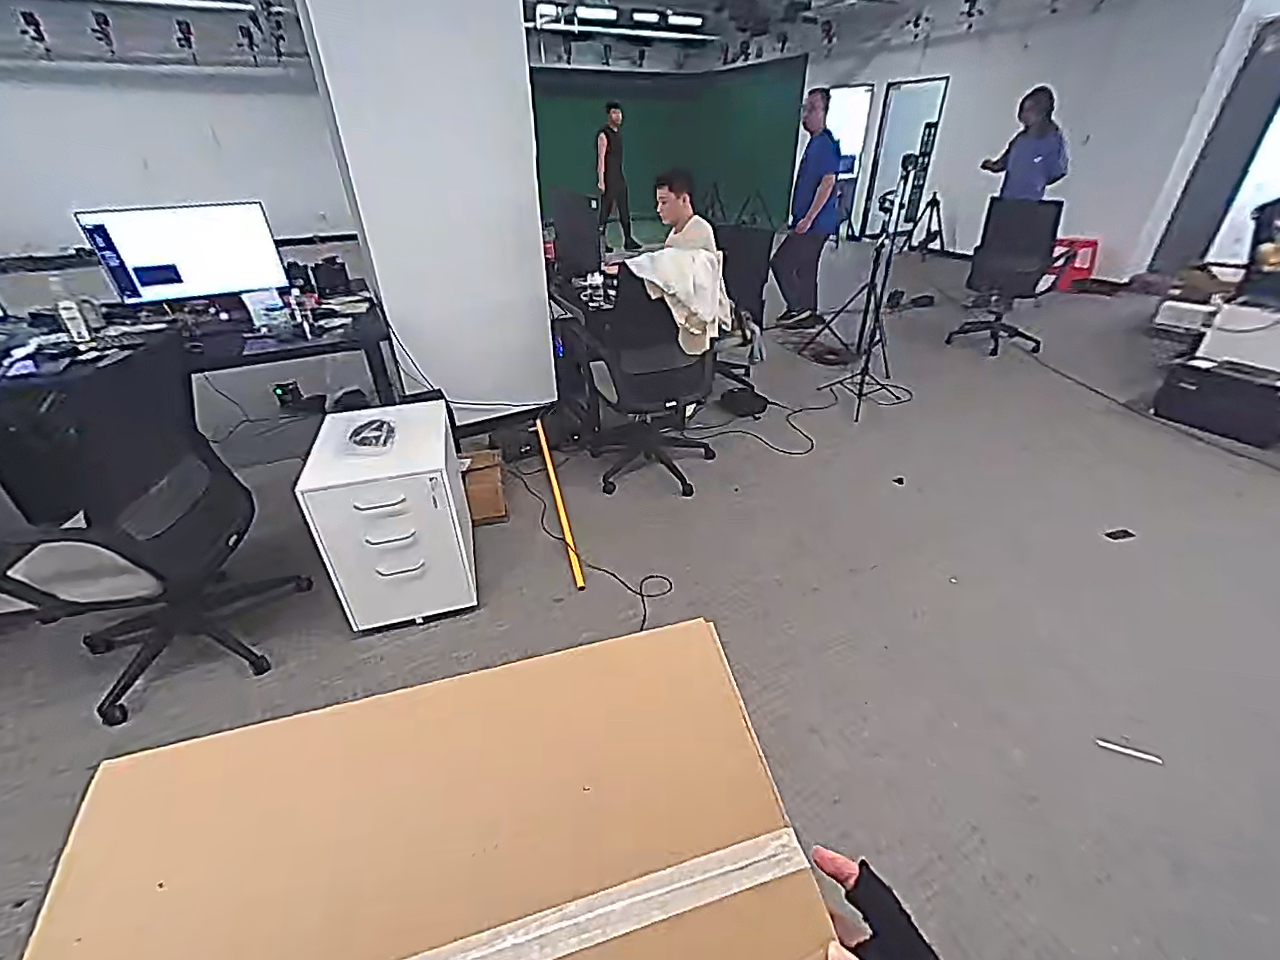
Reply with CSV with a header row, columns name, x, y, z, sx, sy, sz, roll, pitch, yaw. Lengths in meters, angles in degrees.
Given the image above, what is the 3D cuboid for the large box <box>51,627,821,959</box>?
name,x,y,z,sx,sy,sz,roll,pitch,yaw
large box,-0.109,0.359,0.401,0.408,0.320,0.320,-10,48,-12
